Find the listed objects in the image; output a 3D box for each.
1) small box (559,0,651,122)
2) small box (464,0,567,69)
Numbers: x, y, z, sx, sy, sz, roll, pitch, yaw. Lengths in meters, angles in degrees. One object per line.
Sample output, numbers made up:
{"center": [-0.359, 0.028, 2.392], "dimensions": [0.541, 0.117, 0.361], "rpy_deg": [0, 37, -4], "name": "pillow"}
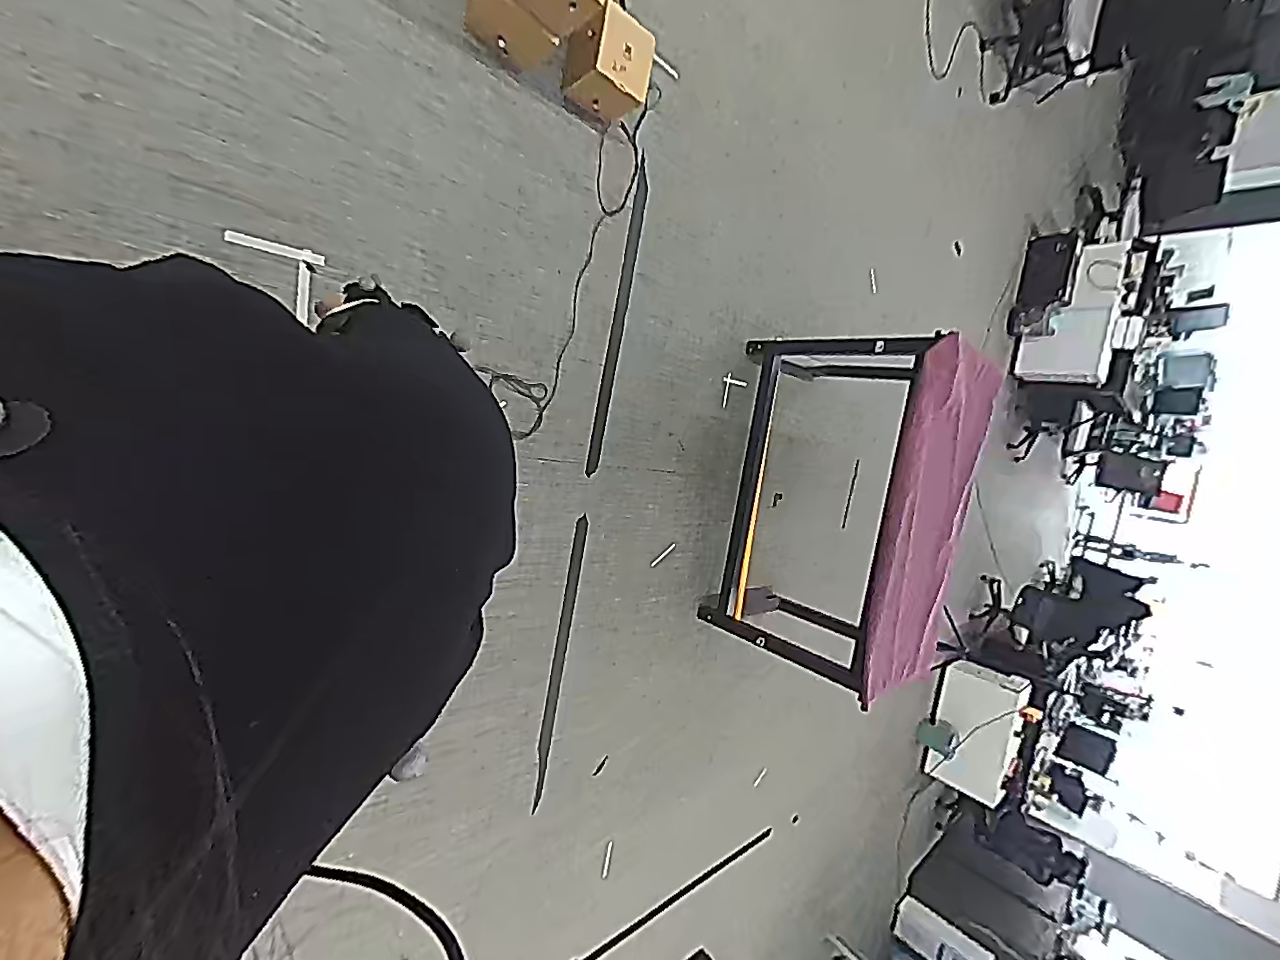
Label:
{"center": [-0.099, -1.114, 1.453], "dimensions": [0.168, 0.176, 0.179], "rpy_deg": [8, 95, -42], "name": "small box"}
{"center": [-0.291, -1.129, 1.272], "dimensions": [0.168, 0.176, 0.179], "rpy_deg": [15, 91, -43], "name": "small box"}
